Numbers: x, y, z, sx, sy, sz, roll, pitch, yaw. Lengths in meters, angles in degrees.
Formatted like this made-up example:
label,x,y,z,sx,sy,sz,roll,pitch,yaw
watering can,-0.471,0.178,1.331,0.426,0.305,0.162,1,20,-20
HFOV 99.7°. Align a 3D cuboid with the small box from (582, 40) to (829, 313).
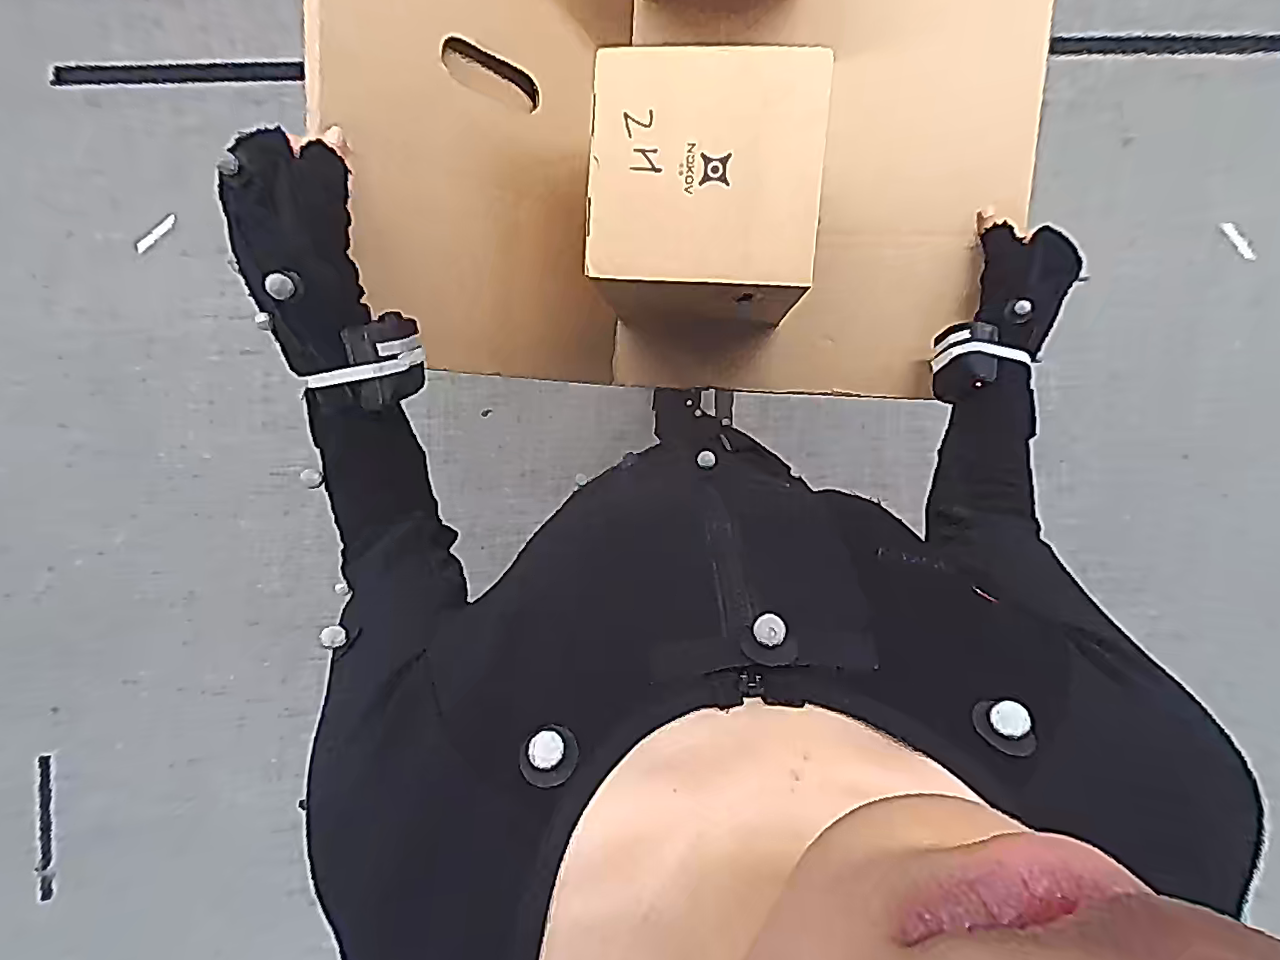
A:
label,x,y,z,sx,sy,sz,roll,pitch,yaw
small box,0.055,-0.253,0.490,0.179,0.176,0.168,5,97,6
